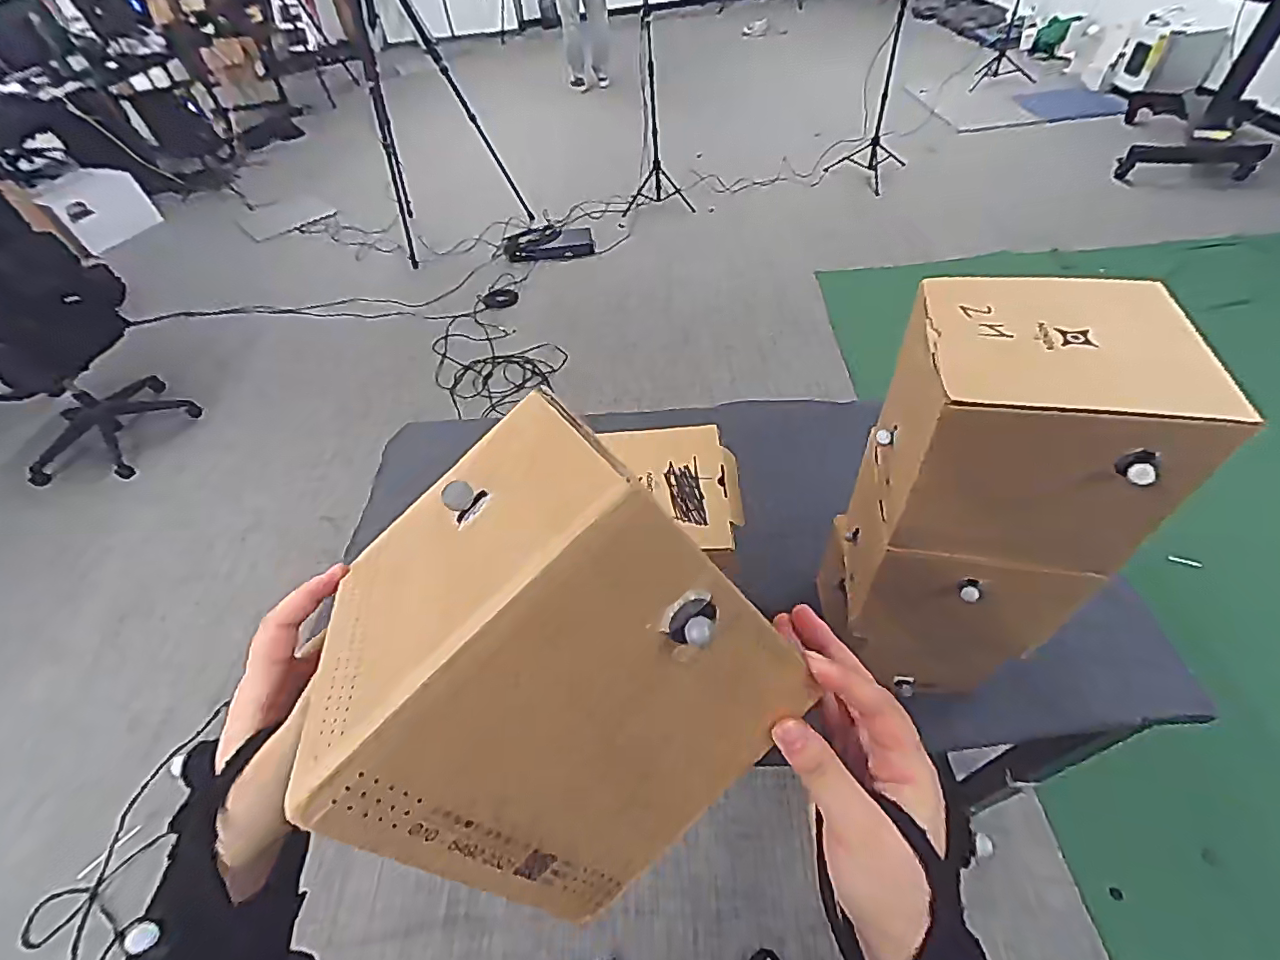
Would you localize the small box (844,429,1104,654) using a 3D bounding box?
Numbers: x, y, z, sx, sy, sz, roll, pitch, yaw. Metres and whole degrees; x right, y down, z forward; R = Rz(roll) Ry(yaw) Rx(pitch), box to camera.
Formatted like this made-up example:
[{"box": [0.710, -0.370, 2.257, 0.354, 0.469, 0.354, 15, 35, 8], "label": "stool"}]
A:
[{"box": [0.322, 0.066, 0.570, 0.179, 0.176, 0.168, 4, 49, 13], "label": "small box"}]

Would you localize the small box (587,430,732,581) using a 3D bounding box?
[{"box": [0.005, 0.064, 0.608, 0.179, 0.176, 0.168, -3, 48, 5], "label": "small box"}]

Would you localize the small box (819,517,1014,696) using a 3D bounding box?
[{"box": [0.339, 0.163, 0.700, 0.168, 0.176, 0.179, -3, 49, 5], "label": "small box"}]

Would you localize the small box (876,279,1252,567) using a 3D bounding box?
[{"box": [0.309, -0.045, 0.449, 0.179, 0.176, 0.168, 6, 49, 14], "label": "small box"}]

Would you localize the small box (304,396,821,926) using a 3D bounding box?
[{"box": [-0.047, 0.082, 0.298, 0.176, 0.168, 0.179, -45, 29, -1], "label": "small box"}]
